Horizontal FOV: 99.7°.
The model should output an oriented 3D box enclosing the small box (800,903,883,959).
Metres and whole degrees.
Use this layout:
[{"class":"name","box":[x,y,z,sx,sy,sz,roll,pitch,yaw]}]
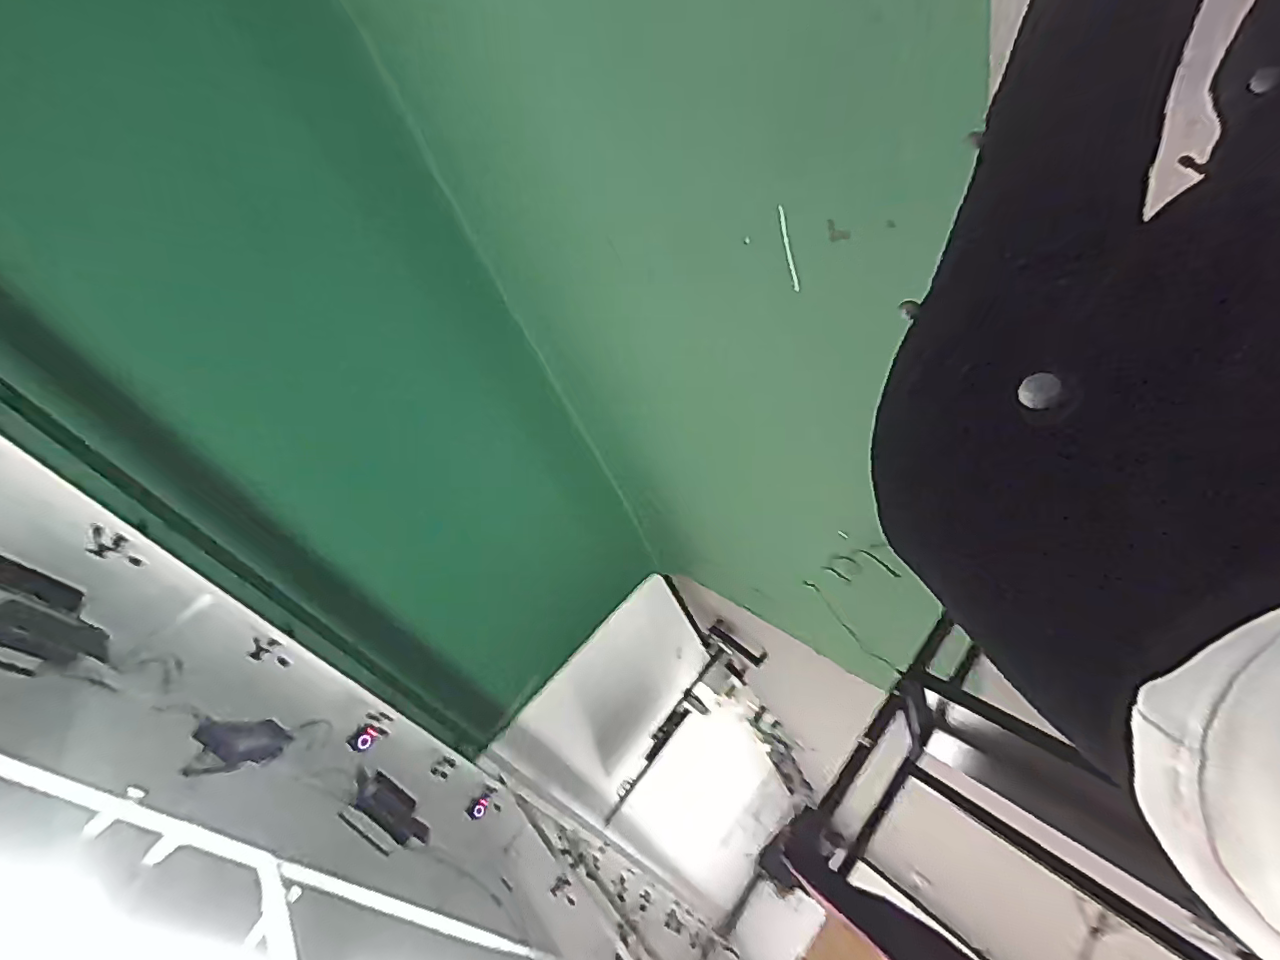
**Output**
[{"class":"small box","box":[0.604,1.408,1.605,0.168,0.176,0.179,24,151,43]}]
